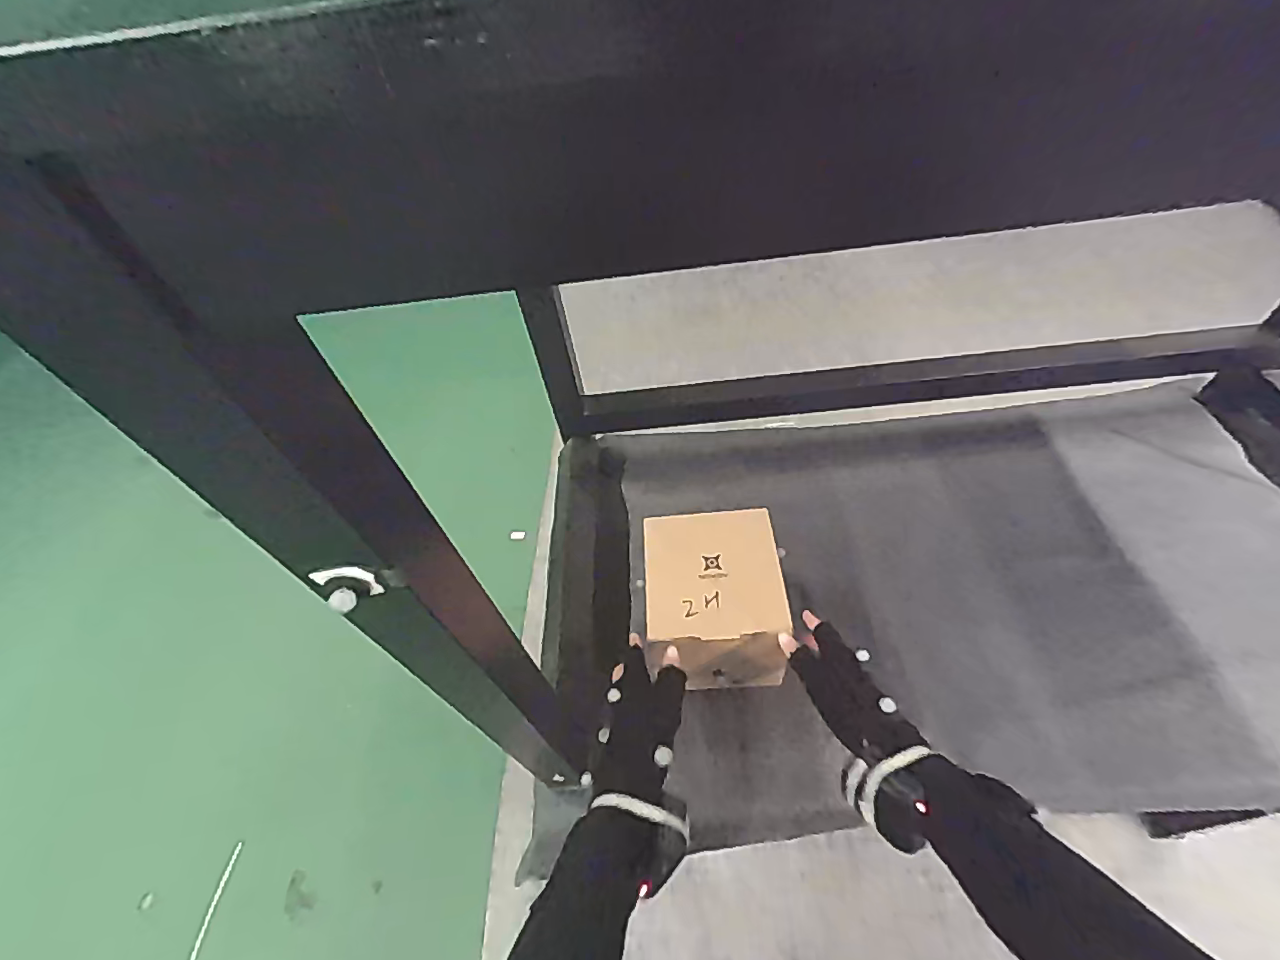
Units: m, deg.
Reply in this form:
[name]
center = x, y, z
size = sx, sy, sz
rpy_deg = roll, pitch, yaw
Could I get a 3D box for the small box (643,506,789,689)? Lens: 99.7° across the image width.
[small box]
center = 0.093, 0.158, 0.720
size = 0.168, 0.176, 0.179
rpy_deg = -6, 49, 5
